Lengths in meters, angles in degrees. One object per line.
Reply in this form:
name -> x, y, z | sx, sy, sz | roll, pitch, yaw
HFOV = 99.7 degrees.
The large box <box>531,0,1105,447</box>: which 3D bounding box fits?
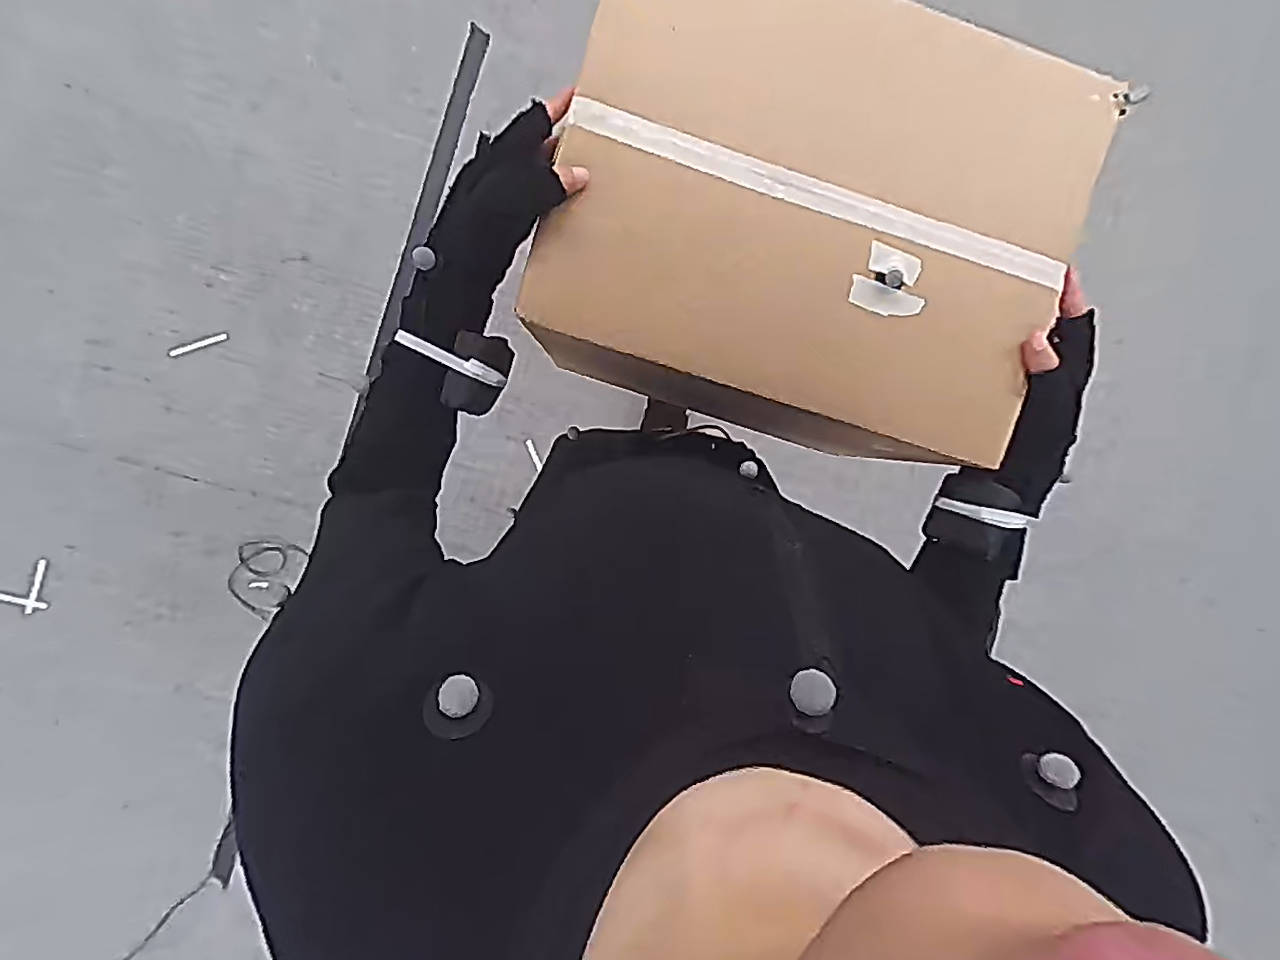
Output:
large box -> 0.133, -0.239, 0.575 | 0.408, 0.320, 0.320 | 17, 95, -5
